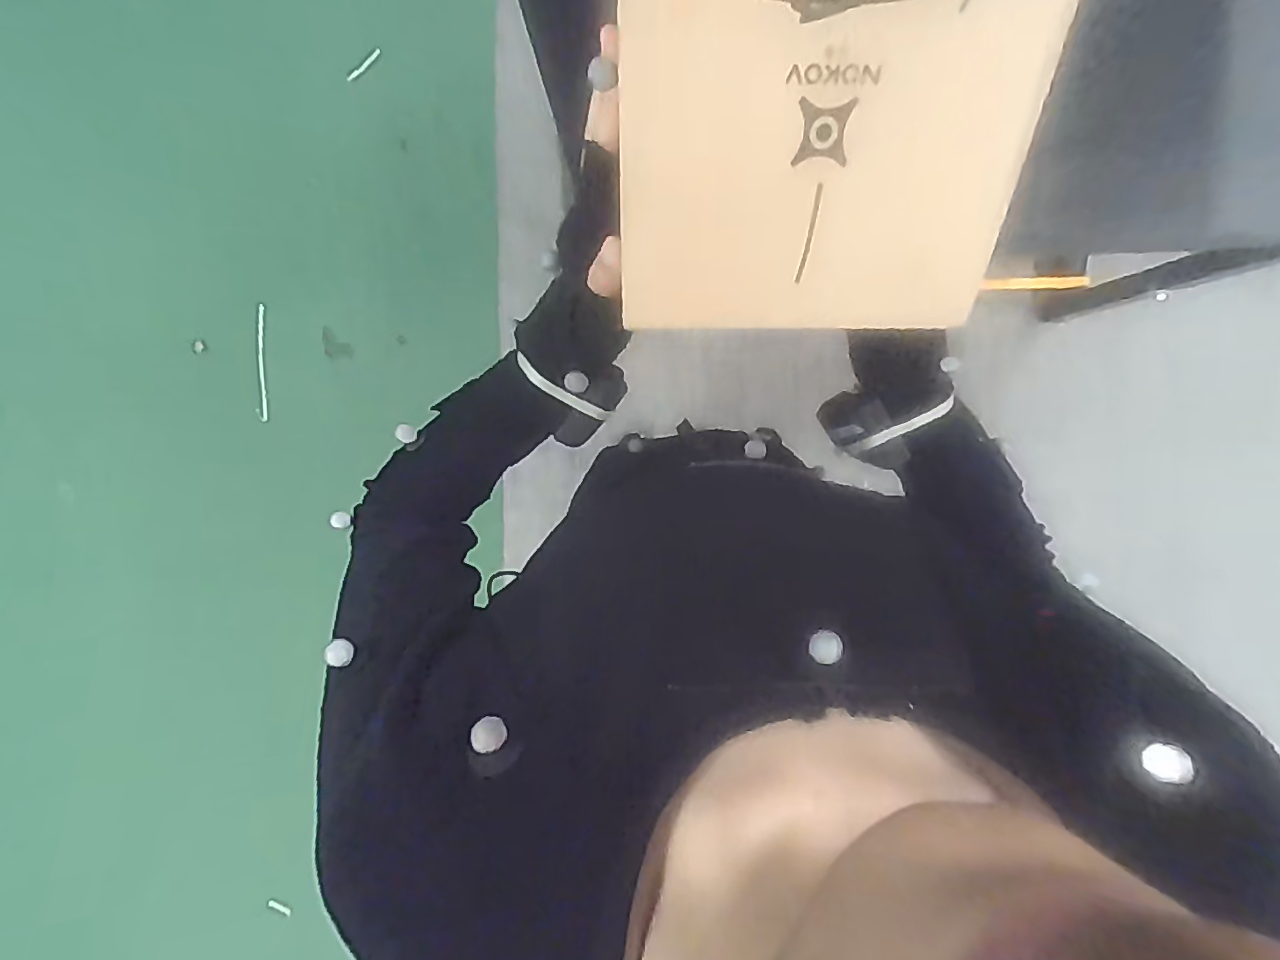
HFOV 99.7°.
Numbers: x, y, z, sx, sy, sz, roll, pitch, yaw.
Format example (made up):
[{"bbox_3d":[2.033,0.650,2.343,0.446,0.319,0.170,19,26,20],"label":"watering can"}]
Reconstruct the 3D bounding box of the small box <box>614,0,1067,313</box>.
[{"bbox_3d":[0.070,-0.194,0.274,0.168,0.176,0.179,0,122,0],"label":"small box"}]
